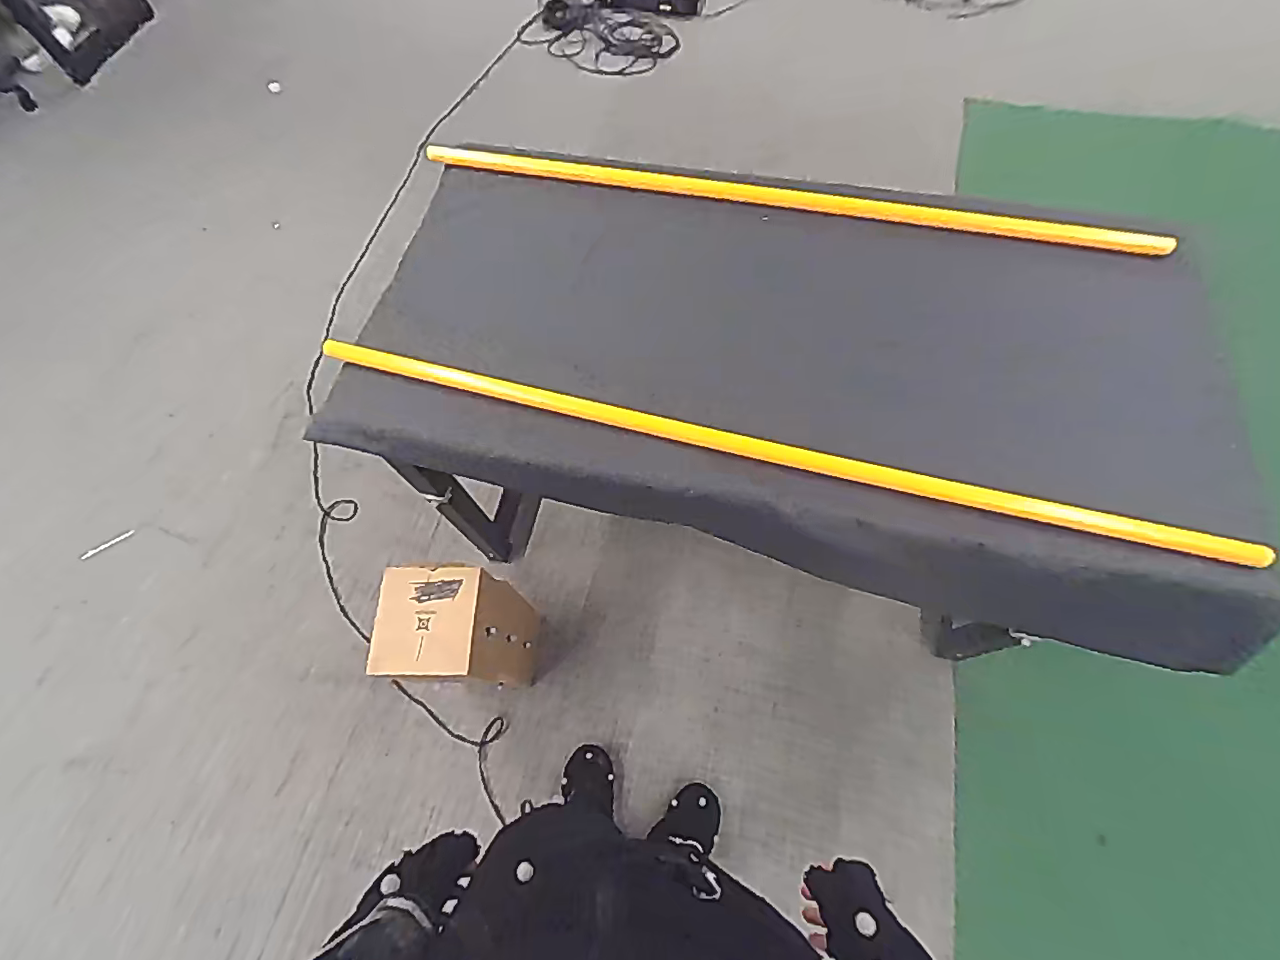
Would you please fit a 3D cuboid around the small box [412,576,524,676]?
[{"bbox_3d":[-0.344,0.306,1.114,0.168,0.176,0.179,-4,65,3],"label":"small box"}]
